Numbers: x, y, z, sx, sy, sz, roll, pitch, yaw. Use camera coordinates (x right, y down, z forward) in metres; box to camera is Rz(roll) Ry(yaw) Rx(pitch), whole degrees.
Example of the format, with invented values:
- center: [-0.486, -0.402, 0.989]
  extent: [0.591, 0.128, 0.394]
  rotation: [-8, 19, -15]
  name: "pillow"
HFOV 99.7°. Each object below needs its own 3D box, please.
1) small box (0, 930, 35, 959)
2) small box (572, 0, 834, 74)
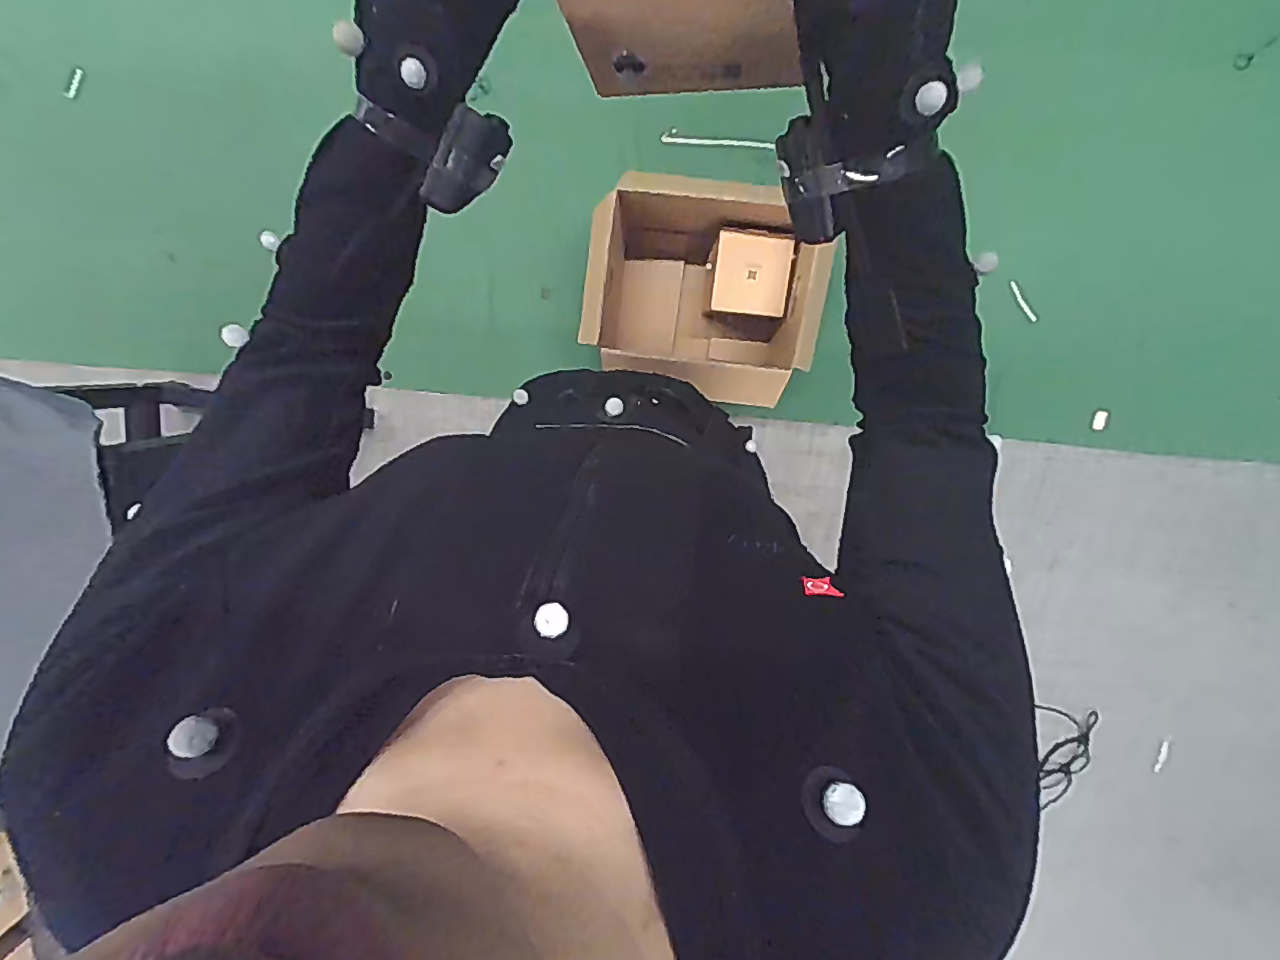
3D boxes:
- center: [-1.177, 0.885, 0.898]
  extent: [0.179, 0.176, 0.168]
  rotation: [7, 102, 1]
  name: "small box"
- center: [0.040, -0.375, 0.314]
  extent: [0.168, 0.176, 0.179]
  rotation: [7, 90, 13]
  name: "small box"
